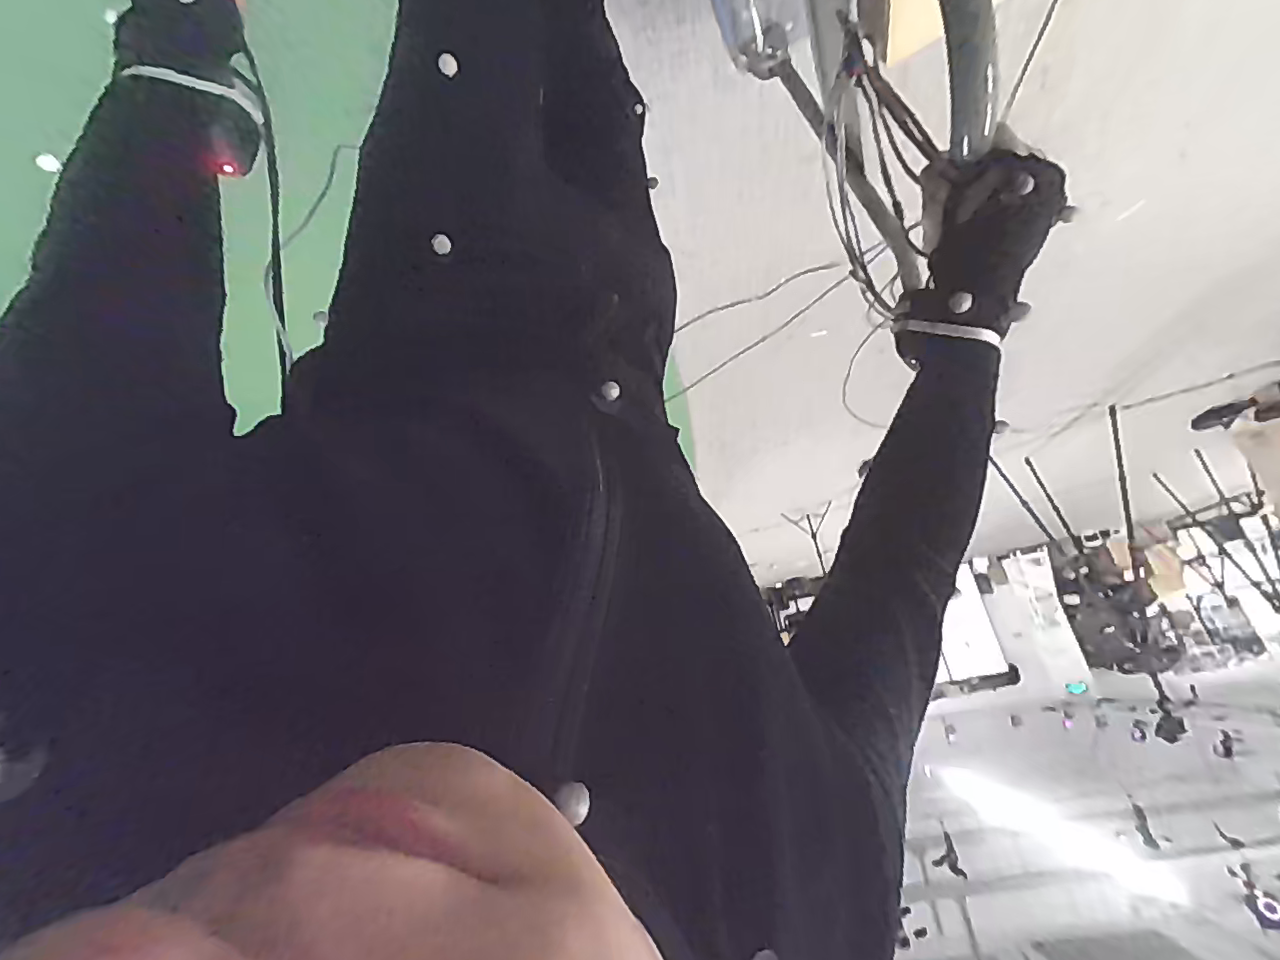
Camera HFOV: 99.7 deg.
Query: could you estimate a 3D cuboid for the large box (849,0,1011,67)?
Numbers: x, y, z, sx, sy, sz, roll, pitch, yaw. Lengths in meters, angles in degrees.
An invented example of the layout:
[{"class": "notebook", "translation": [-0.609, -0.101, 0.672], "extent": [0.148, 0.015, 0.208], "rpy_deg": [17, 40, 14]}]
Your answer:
[{"class": "large box", "translation": [0.419, -0.803, 0.598], "extent": [0.408, 0.320, 0.320], "rpy_deg": [-24, 161, 16]}]
